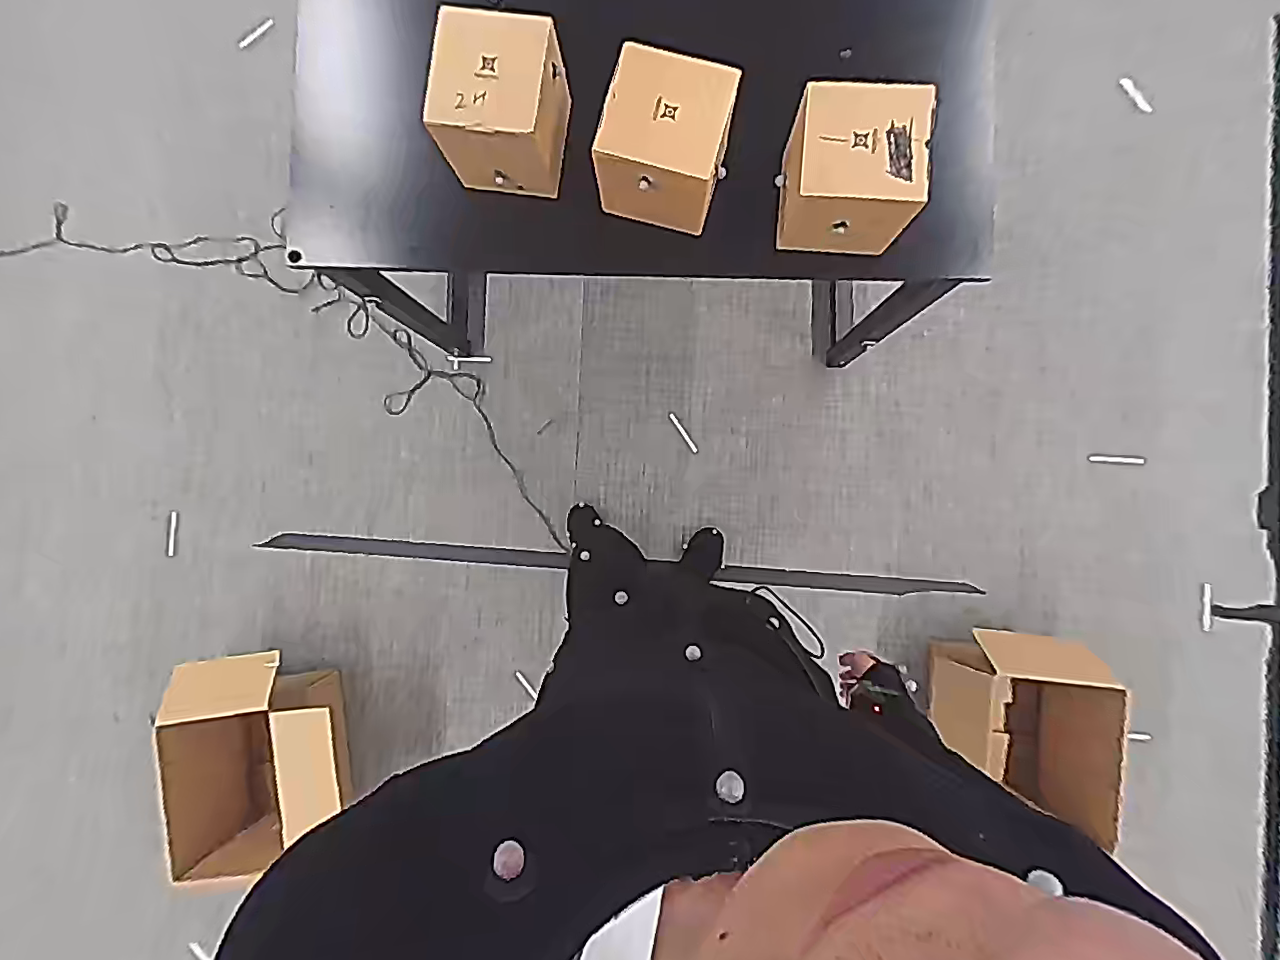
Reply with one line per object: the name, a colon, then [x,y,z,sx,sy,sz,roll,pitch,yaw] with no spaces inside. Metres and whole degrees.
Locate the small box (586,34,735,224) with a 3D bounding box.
small box: [0.033,-0.523,0.832,0.179,0.176,0.168,15,89,4]

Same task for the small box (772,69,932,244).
small box: [0.309,-0.475,0.817,0.179,0.176,0.168,4,89,3]

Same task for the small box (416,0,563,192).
small box: [-0.222,-0.587,0.842,0.168,0.176,0.179,8,90,3]
